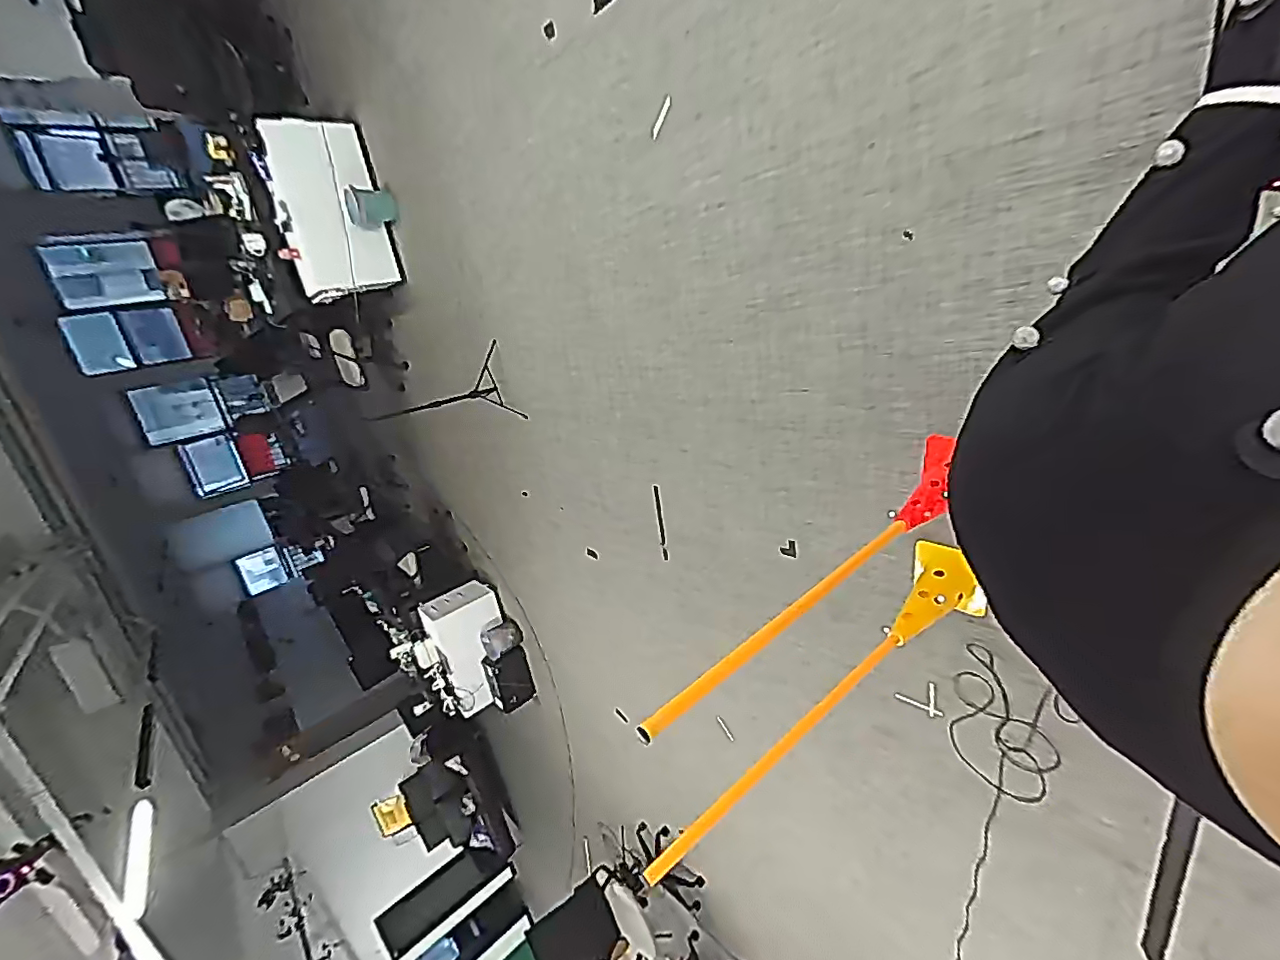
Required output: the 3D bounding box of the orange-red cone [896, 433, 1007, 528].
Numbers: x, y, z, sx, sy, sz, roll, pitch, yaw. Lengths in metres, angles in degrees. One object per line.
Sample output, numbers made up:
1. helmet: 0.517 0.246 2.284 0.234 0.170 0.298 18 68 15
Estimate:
1. orange-red cone: 0.738 0.036 1.355 0.198 0.360 0.199 21 124 44
